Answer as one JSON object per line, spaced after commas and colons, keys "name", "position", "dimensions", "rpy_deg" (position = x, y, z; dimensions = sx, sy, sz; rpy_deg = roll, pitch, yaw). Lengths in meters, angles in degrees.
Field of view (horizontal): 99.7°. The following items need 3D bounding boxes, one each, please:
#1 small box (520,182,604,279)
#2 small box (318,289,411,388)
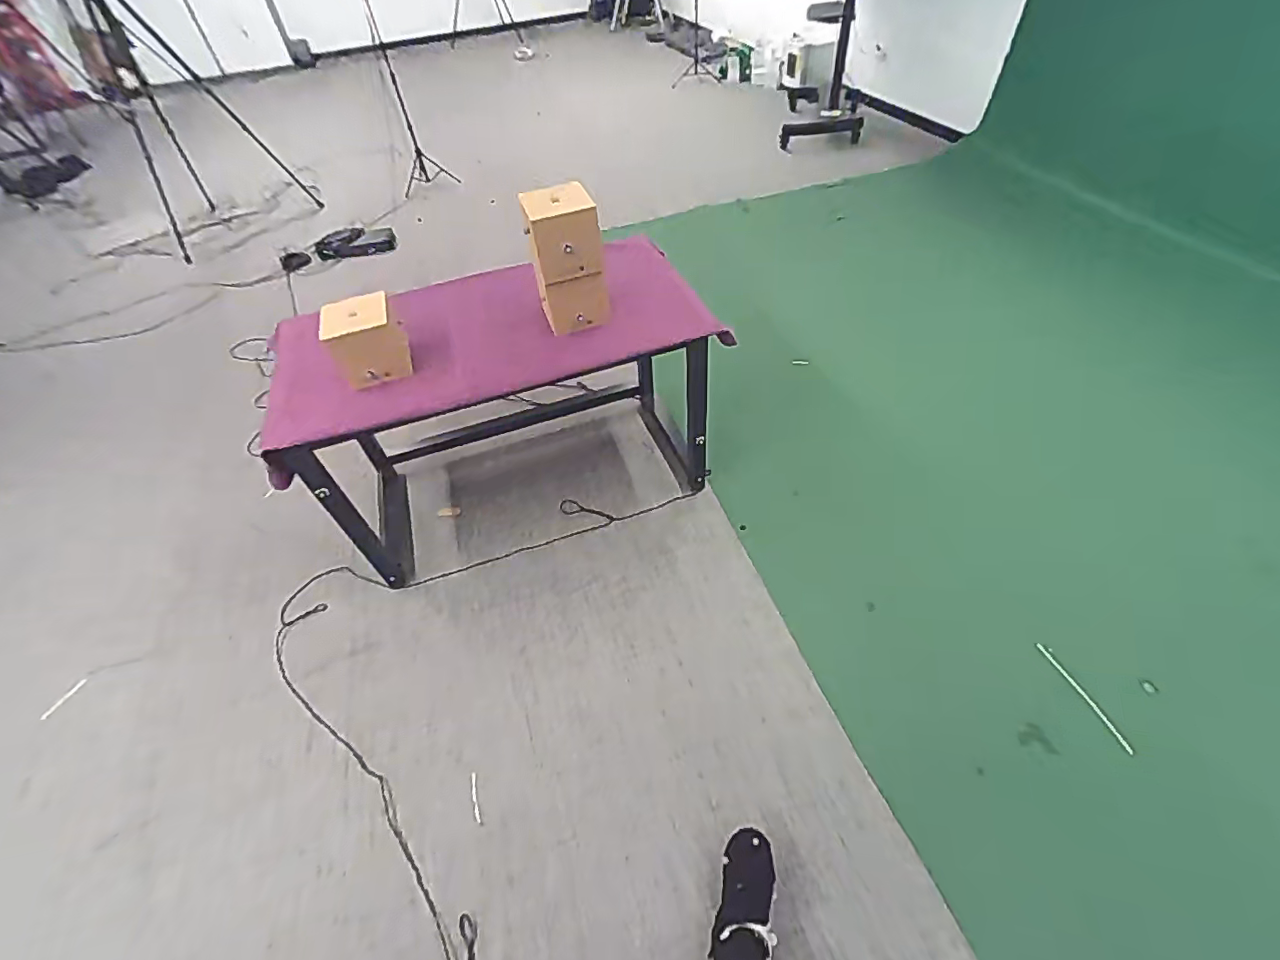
{"name": "small box", "position": [-0.196, -0.634, 1.390], "dimensions": [0.168, 0.176, 0.179], "rpy_deg": [-16, 50, -10]}
{"name": "small box", "position": [-0.718, -0.370, 1.423], "dimensions": [0.168, 0.176, 0.179], "rpy_deg": [-17, 50, -10]}
